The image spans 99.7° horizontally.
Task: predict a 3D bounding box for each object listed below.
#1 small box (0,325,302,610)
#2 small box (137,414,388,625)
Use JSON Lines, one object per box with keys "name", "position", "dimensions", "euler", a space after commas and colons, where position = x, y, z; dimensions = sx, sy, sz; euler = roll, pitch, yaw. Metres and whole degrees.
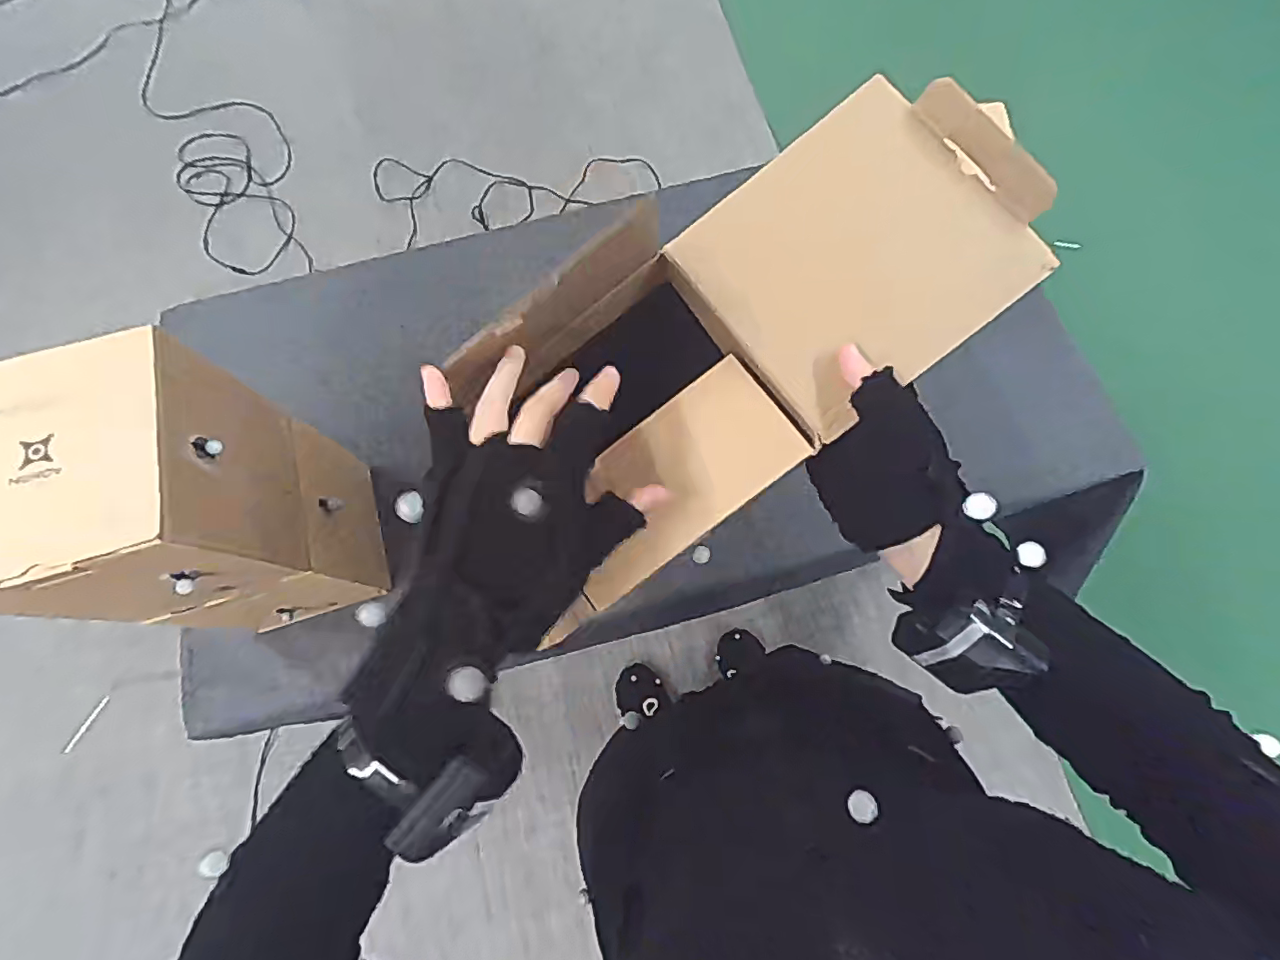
{"name": "small box", "position": [-0.415, 0.006, 0.454], "dimensions": [0.168, 0.176, 0.179], "euler": [-15, 73, -4]}
{"name": "small box", "position": [-0.411, 0.054, 0.609], "dimensions": [0.168, 0.176, 0.179], "euler": [-17, 74, -4]}
